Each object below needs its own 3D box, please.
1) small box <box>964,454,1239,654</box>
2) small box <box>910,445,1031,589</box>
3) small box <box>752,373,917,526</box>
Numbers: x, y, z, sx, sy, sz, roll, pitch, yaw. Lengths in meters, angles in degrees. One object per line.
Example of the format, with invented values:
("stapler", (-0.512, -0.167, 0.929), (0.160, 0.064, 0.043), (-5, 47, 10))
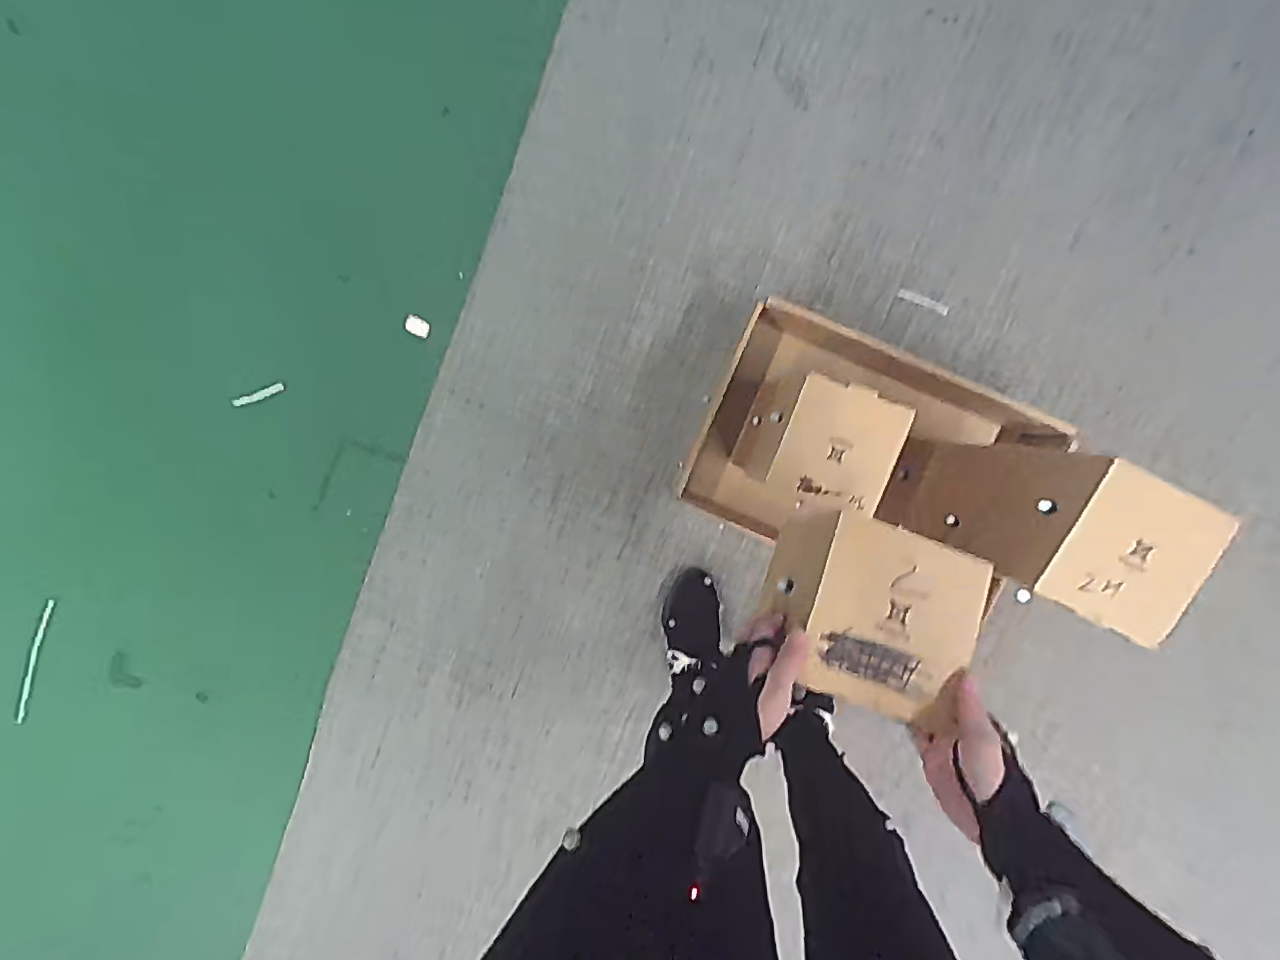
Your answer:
("small box", (0.563, 0.079, 0.691), (0.168, 0.176, 0.179), (28, 98, -2))
("small box", (0.568, 0.057, 0.855), (0.168, 0.176, 0.179), (27, 98, -3))
("small box", (0.288, -0.049, 0.845), (0.168, 0.176, 0.179), (20, 96, 1))
